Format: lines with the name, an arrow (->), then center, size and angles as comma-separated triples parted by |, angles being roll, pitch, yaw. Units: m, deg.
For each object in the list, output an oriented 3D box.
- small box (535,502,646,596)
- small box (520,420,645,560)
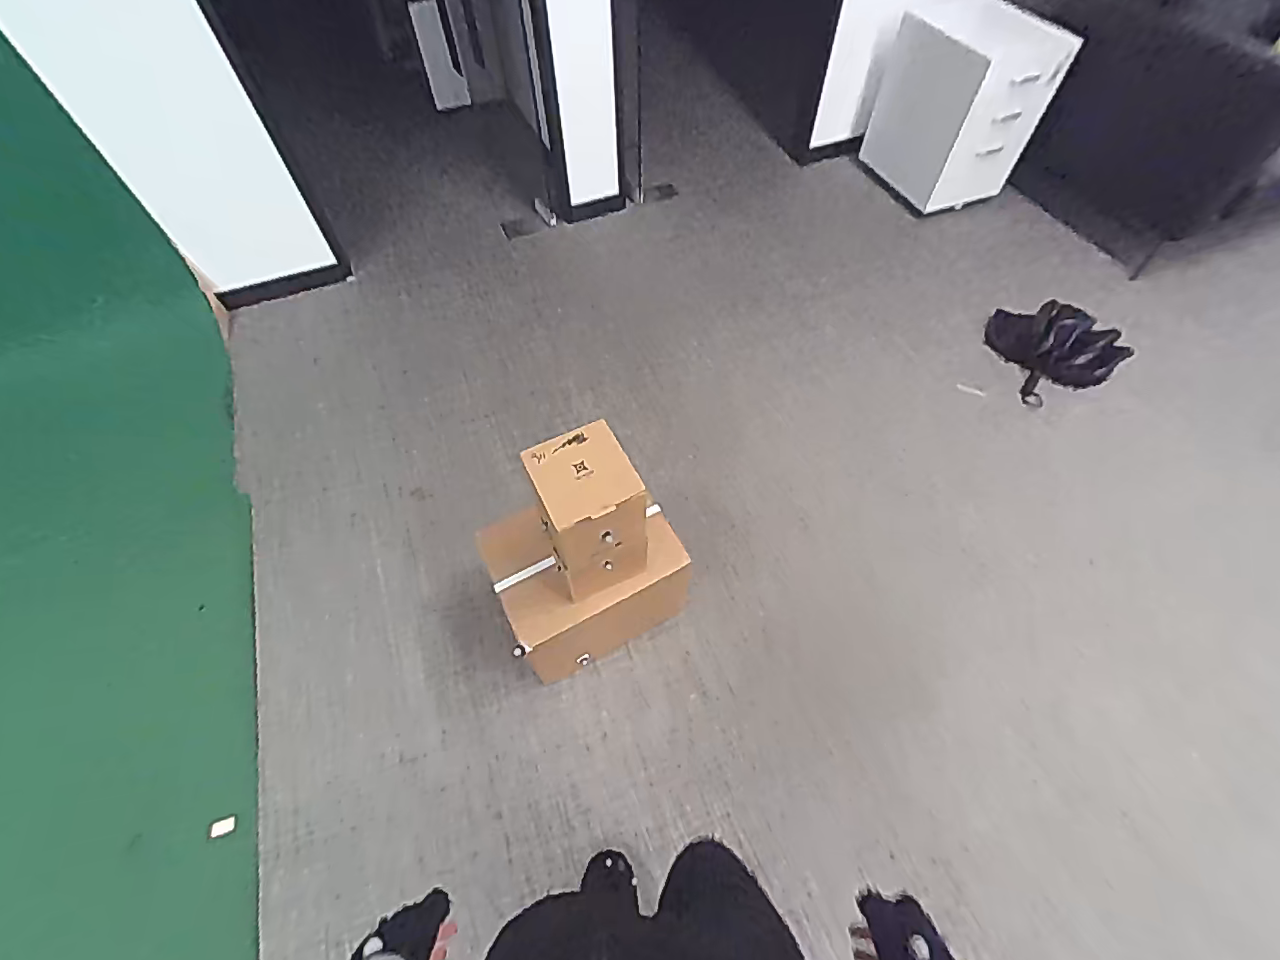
small box -> -0.097, 0.117, 1.125 | 0.179, 0.176, 0.168 | -22, 61, -15
small box -> -0.099, 0.027, 0.988 | 0.168, 0.176, 0.179 | -24, 62, -14
